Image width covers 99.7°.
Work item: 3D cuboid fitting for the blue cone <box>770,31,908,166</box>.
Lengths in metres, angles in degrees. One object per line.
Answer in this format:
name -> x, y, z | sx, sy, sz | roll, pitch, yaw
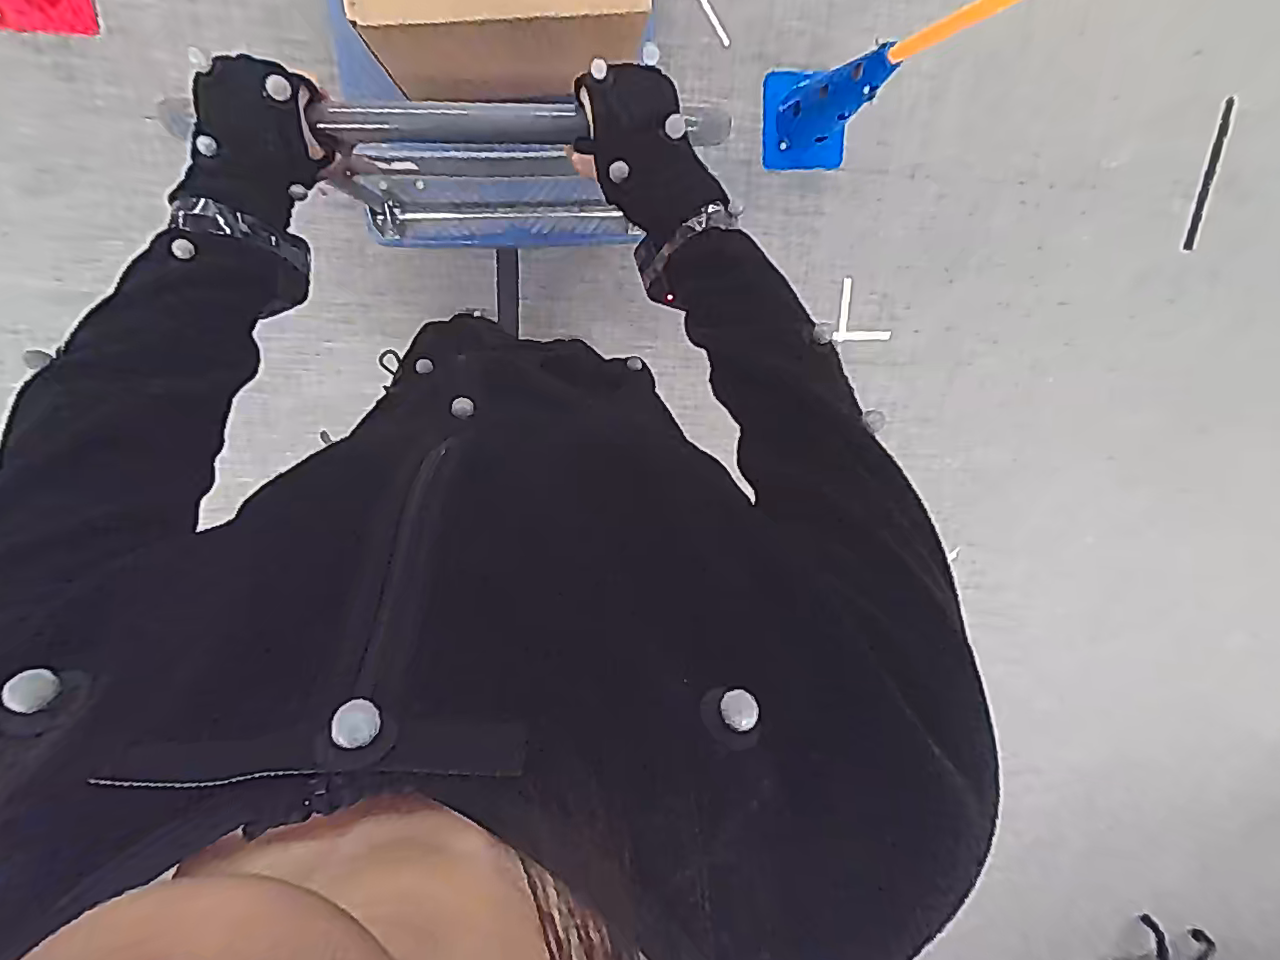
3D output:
blue cone -> 0.416, -0.790, 1.102 | 0.193, 0.380, 0.192 | -4, 107, -8
